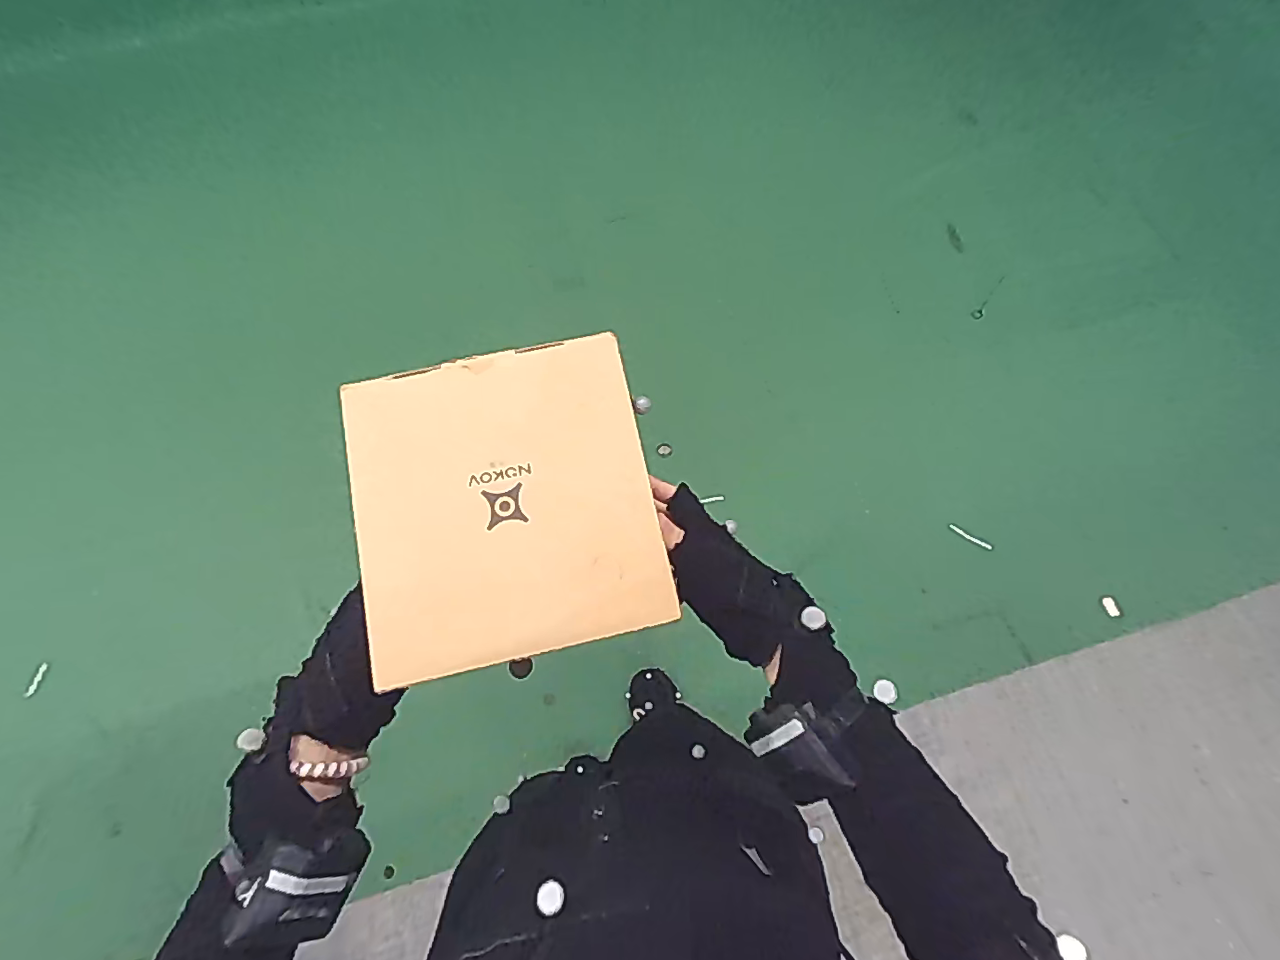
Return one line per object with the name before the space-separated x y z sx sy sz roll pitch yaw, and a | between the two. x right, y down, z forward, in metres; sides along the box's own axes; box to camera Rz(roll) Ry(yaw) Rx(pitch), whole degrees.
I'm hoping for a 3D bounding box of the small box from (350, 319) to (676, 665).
small box | -0.076 0.017 0.386 0.168 0.176 0.179 -13 76 -4
